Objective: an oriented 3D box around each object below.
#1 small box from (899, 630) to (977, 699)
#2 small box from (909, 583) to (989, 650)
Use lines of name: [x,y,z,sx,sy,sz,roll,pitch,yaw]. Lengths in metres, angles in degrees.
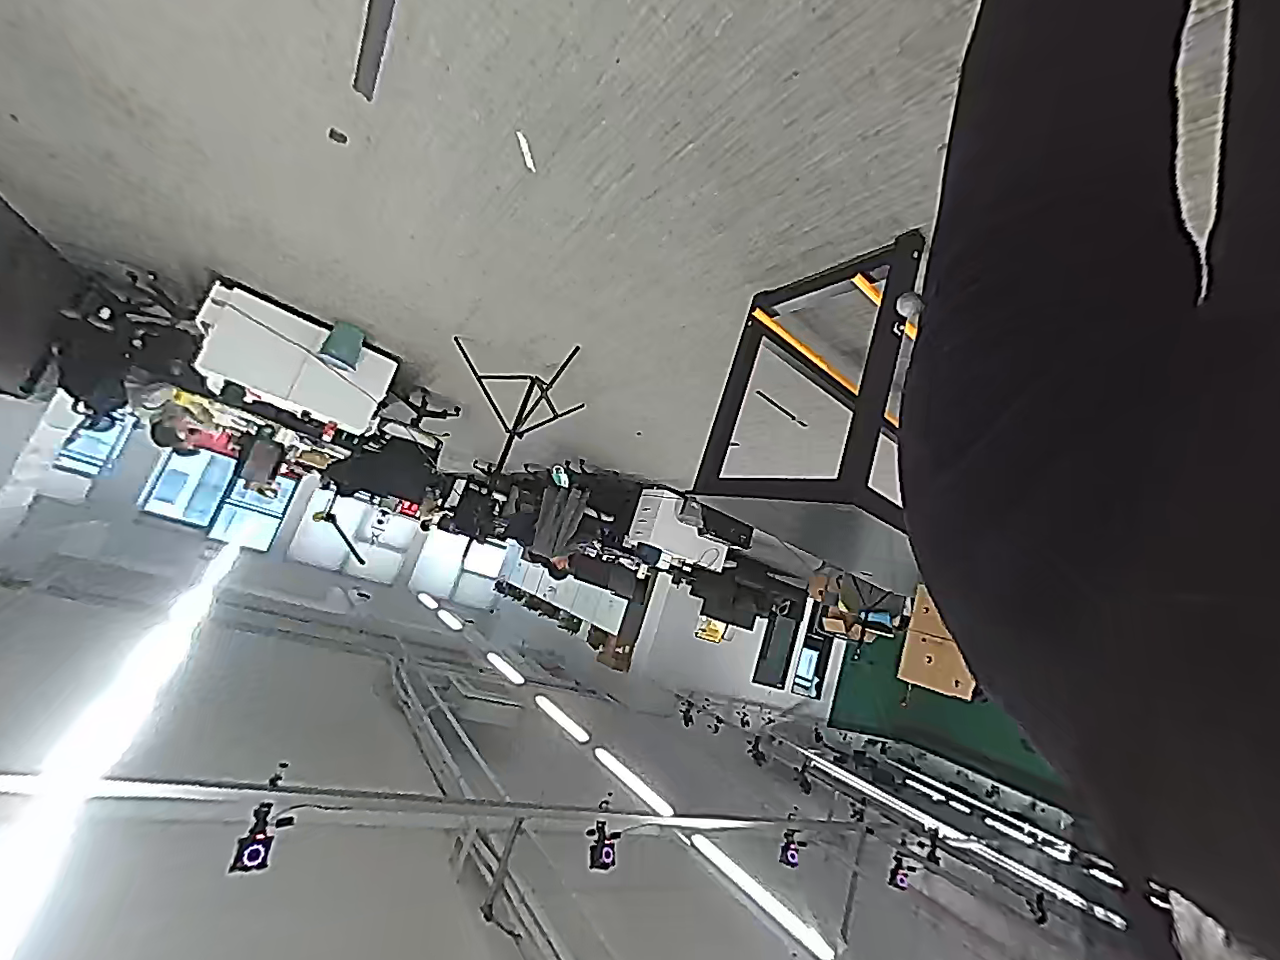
small box: [1.002,0.614,1.816,0.179,0.176,0.168,25,168,-34]
small box: [1.053,0.458,1.838,0.168,0.176,0.179,25,167,-34]
